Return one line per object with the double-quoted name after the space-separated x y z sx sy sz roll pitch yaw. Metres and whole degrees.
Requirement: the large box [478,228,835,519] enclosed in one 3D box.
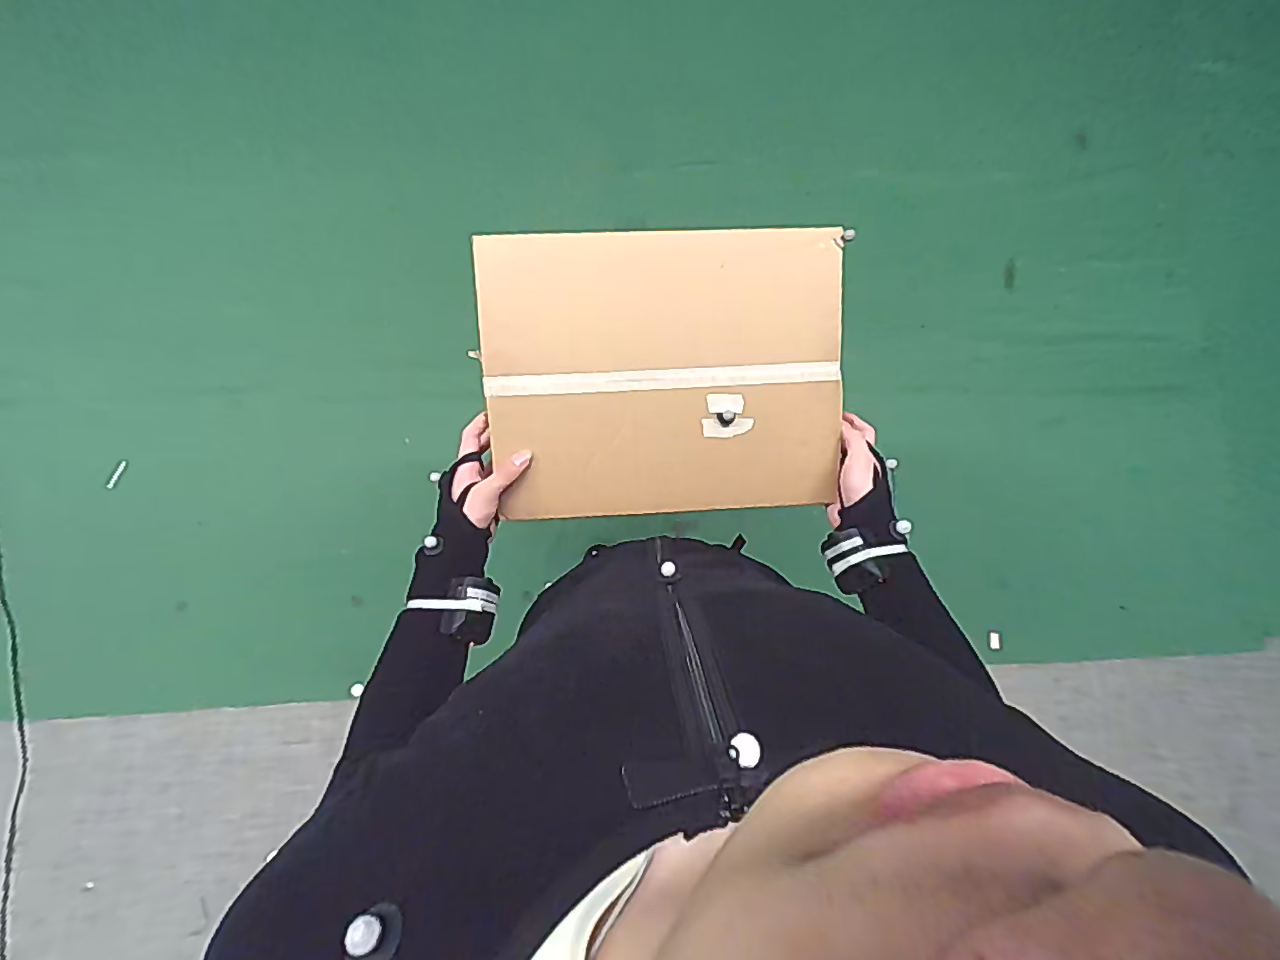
0.016 -0.142 0.766 0.408 0.320 0.320 -4 100 -4 "large box"
